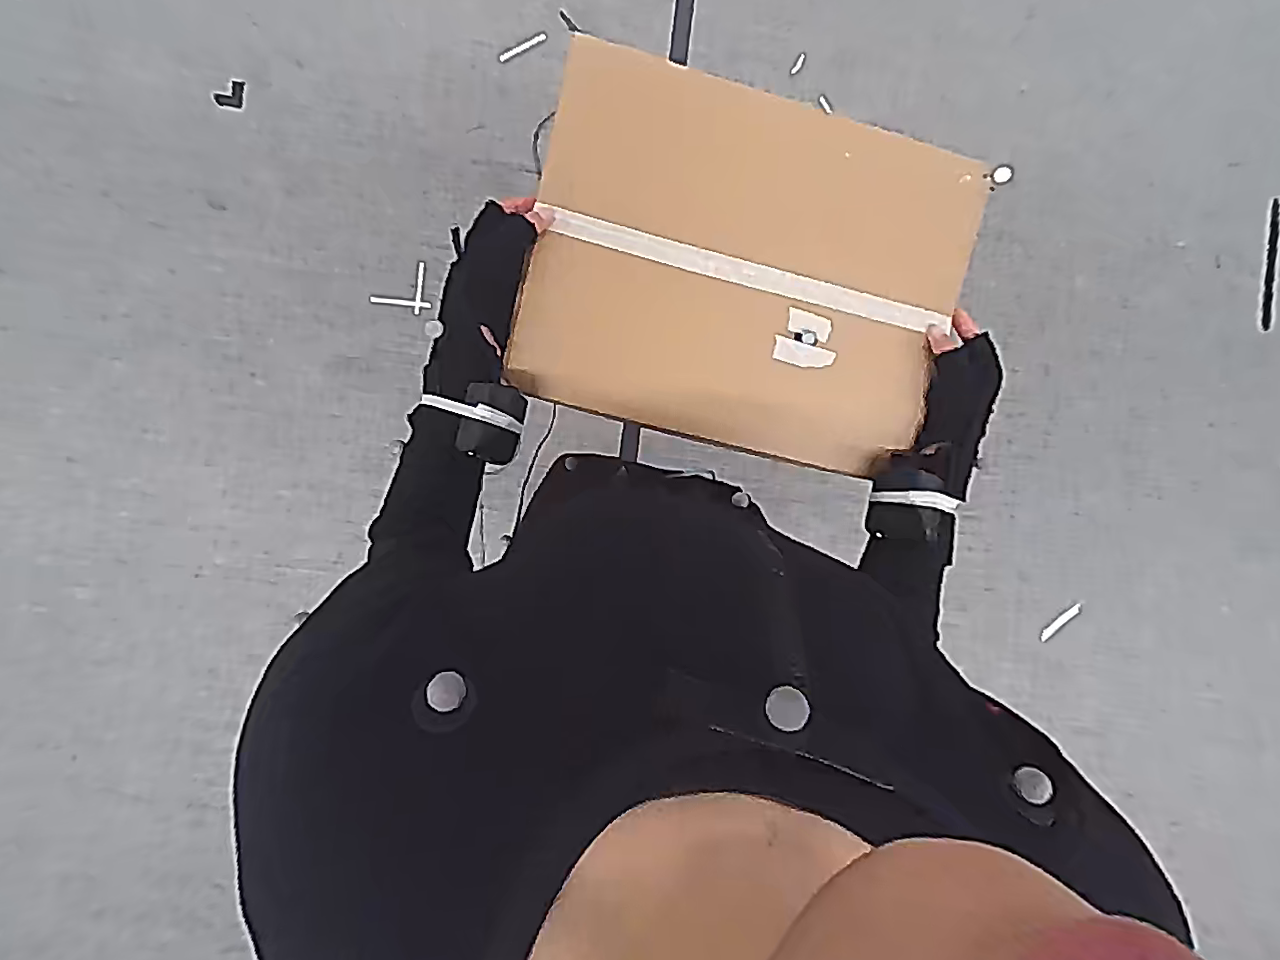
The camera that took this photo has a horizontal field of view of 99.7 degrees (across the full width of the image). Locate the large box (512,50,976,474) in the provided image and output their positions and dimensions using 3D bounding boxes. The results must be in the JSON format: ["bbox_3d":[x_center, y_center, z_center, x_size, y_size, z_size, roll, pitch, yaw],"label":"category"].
[{"bbox_3d":[0.088,-0.211,0.662,0.408,0.320,0.320,14,96,-7],"label":"large box"}]
